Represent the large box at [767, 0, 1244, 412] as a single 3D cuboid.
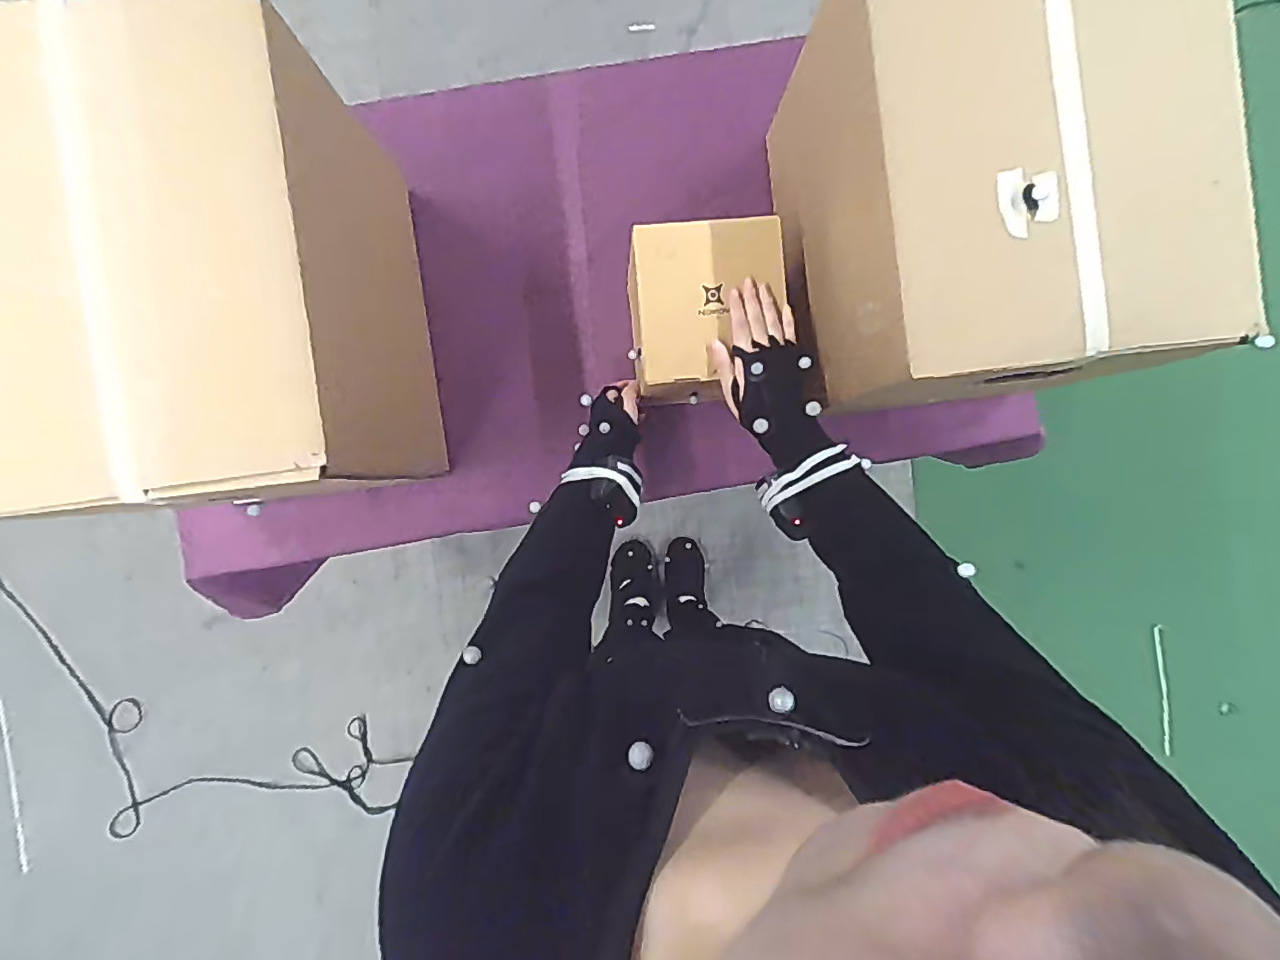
[{"bbox_3d":[0.358,-0.306,0.620,0.320,0.320,0.408,-6,91,-2],"label":"large box"}]
